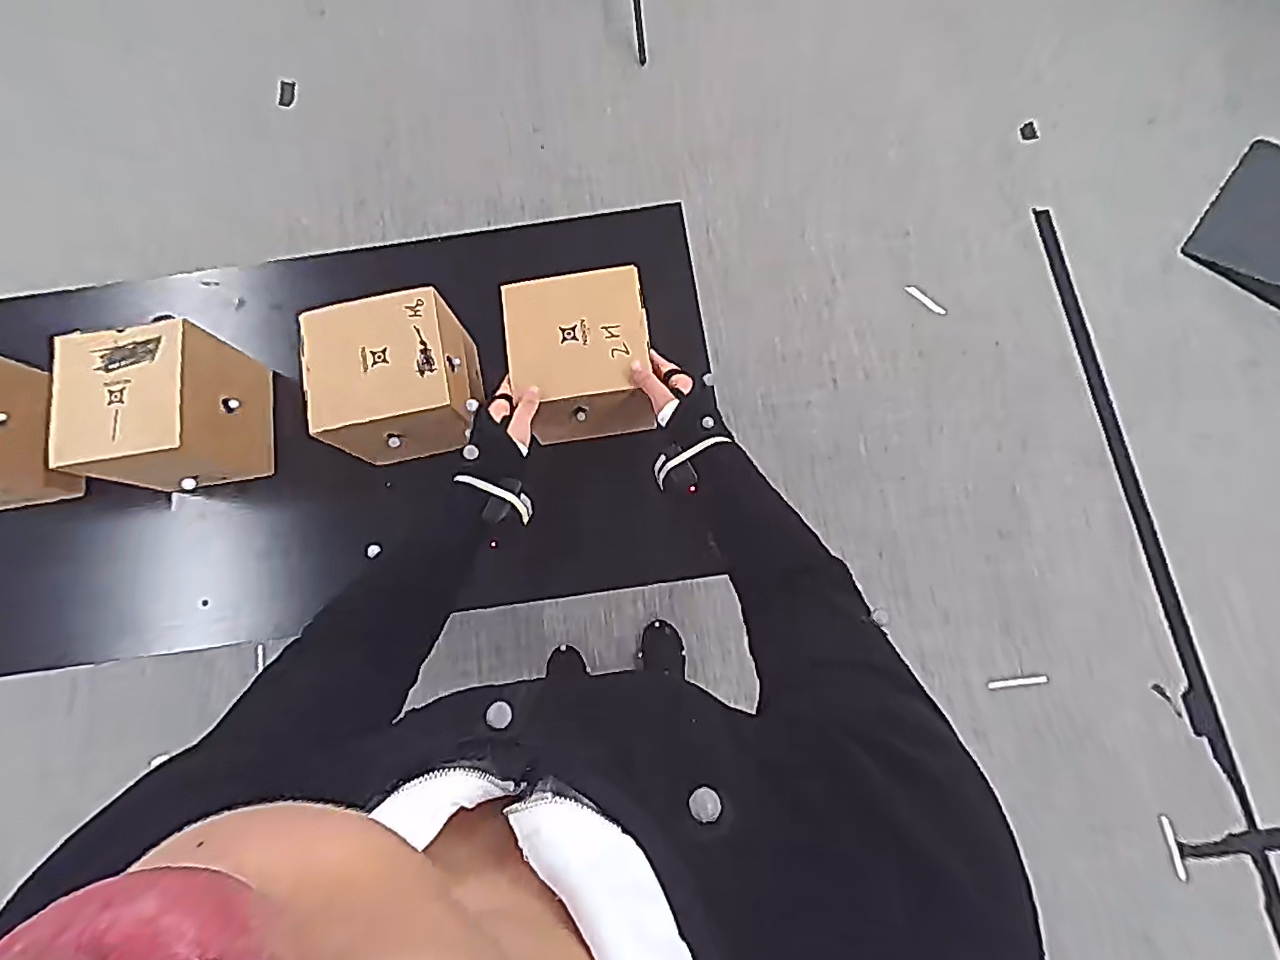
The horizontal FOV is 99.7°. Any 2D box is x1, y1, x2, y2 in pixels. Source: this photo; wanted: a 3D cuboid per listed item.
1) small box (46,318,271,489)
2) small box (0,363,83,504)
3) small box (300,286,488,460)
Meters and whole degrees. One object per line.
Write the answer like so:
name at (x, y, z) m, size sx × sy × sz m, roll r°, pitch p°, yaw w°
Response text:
small box at (-0.647, -0.097, 0.750) m, size 0.168 × 0.176 × 0.179 m, roll -9°, pitch 79°, yaw 0°
small box at (-0.932, -0.064, 0.751) m, size 0.168 × 0.176 × 0.179 m, roll -10°, pitch 77°, yaw -2°
small box at (-0.331, -0.136, 0.750) m, size 0.179 × 0.176 × 0.168 m, roll -13°, pitch 78°, yaw 0°
